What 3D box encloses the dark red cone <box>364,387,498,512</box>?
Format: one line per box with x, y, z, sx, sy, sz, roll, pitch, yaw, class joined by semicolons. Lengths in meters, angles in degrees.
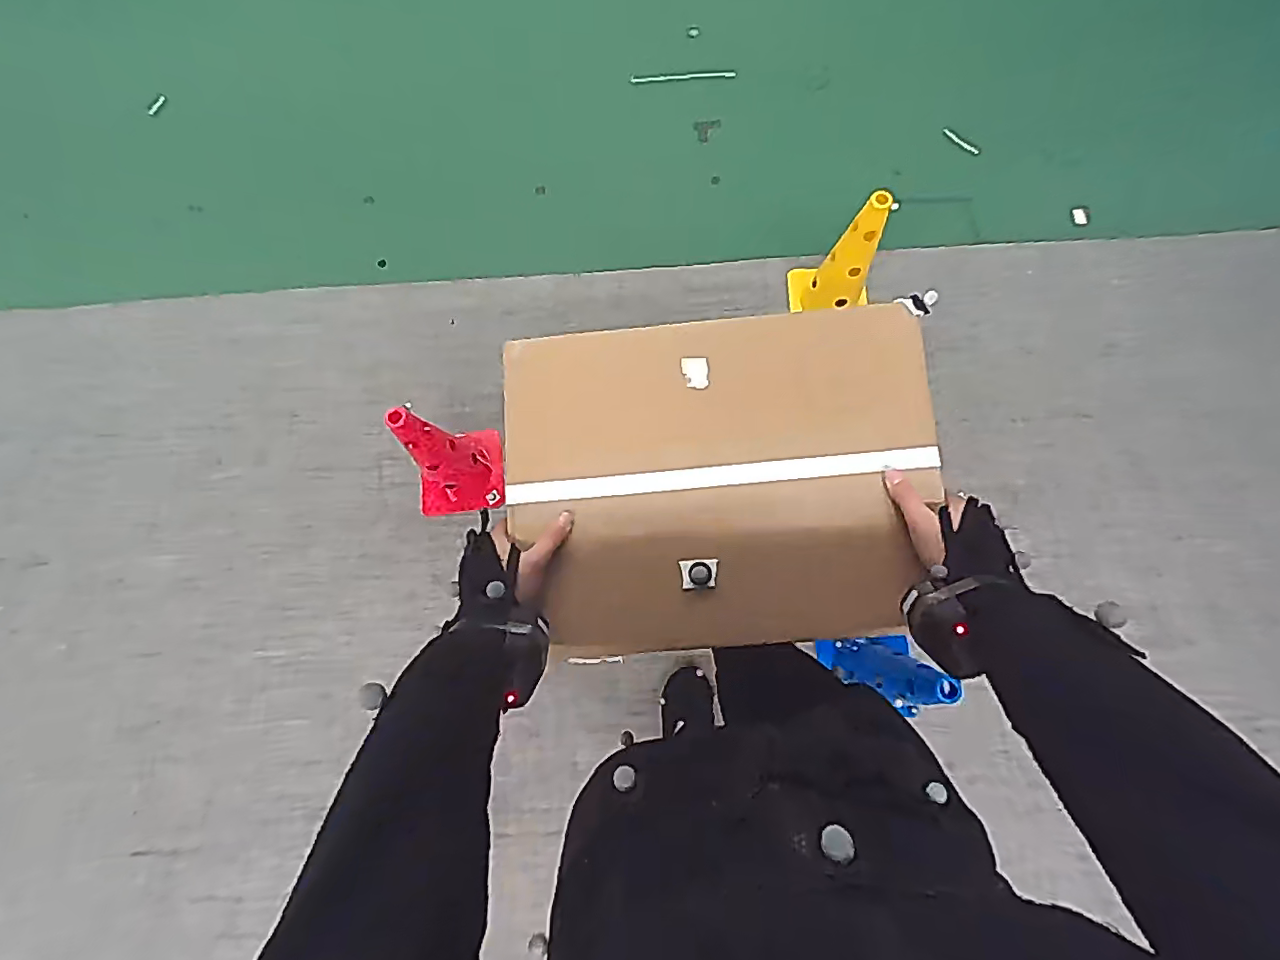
-0.448;-0.084;1.128;0.202;0.394;0.201;-11;71;0;dark red cone
